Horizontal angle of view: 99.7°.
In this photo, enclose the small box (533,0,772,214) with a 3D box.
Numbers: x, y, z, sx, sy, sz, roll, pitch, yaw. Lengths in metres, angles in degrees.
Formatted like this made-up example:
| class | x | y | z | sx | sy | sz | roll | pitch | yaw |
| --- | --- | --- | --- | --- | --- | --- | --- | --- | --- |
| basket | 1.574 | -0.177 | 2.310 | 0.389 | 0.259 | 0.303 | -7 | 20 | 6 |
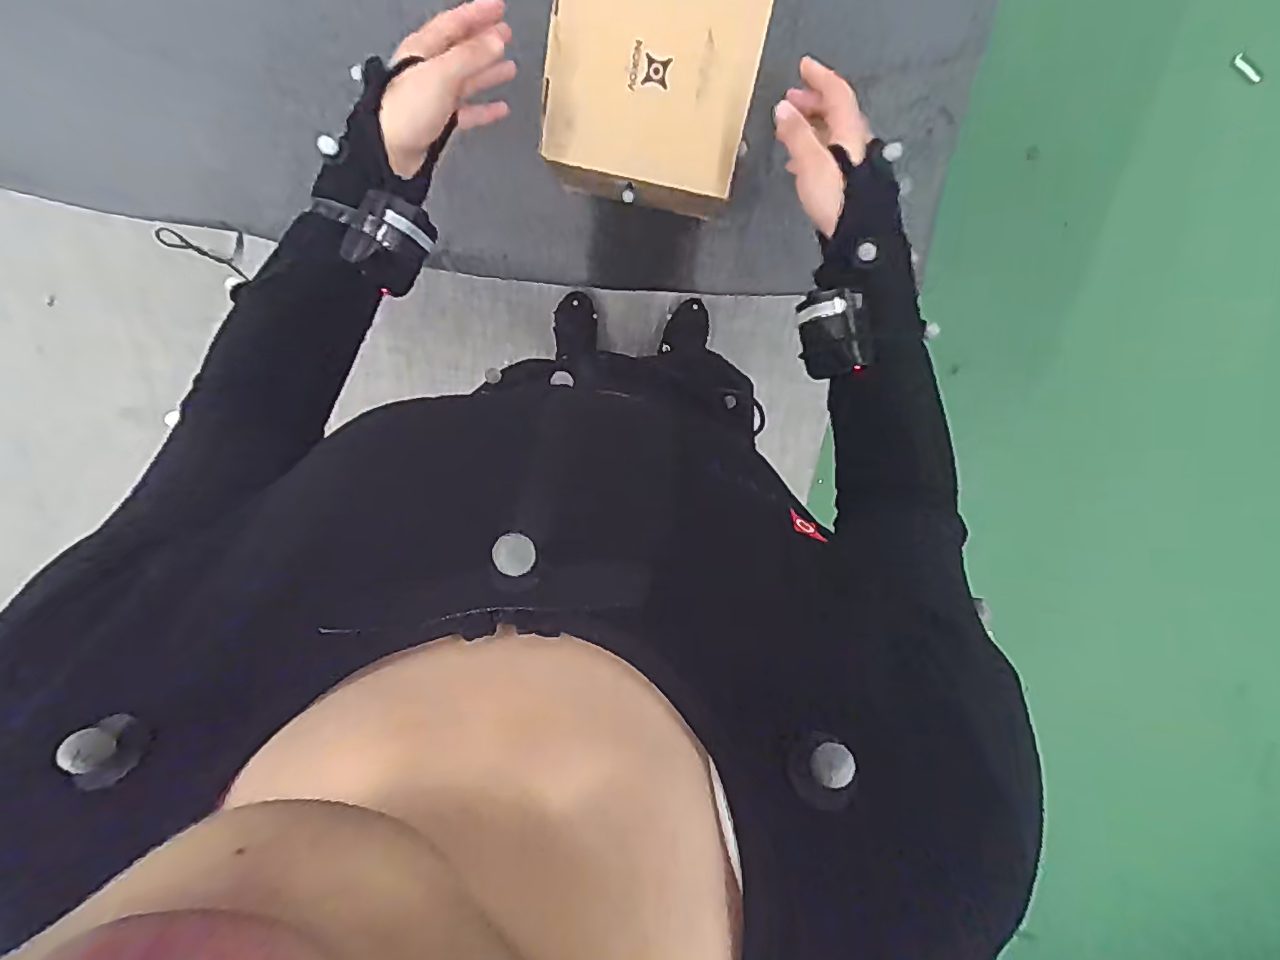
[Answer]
| class | x | y | z | sx | sy | sz | roll | pitch | yaw |
| --- | --- | --- | --- | --- | --- | --- | --- | --- | --- |
| small box | 0.010 | -0.365 | 0.518 | 0.179 | 0.176 | 0.168 | 11 | 111 | -2 |
